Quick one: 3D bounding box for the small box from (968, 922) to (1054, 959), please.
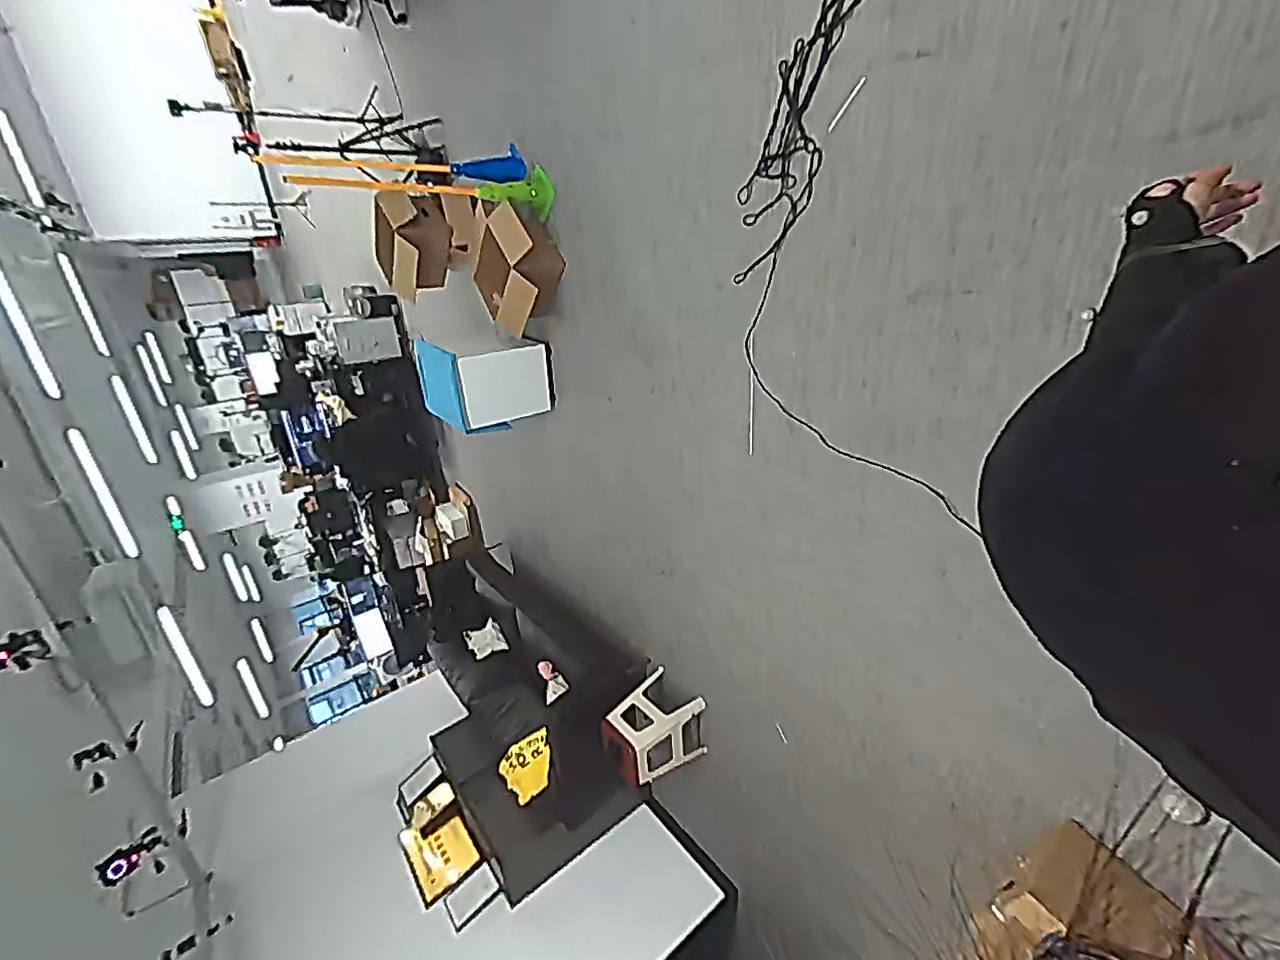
[{"bbox_3d":[0.957,1.285,1.376,0.168,0.176,0.179,43,139,35],"label":"small box"}]
